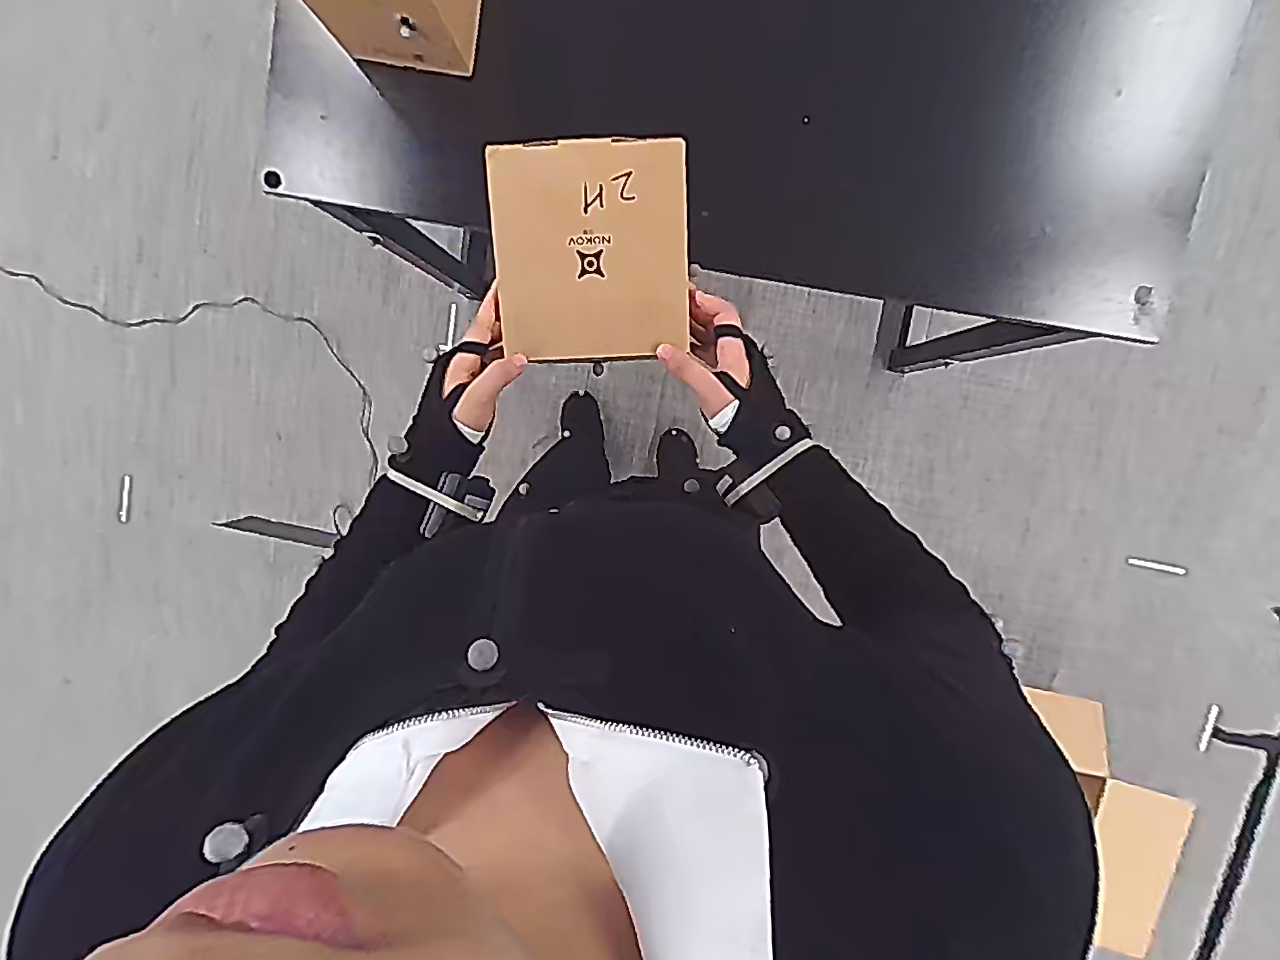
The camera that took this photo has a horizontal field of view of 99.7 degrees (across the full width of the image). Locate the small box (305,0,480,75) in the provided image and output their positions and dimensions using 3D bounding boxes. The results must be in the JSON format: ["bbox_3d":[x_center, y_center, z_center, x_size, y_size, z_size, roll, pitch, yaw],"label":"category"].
[{"bbox_3d":[-0.288,-0.610,0.616,0.168,0.176,0.179,10,96,0],"label":"small box"}]

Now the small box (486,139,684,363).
[{"bbox_3d":[-0.043,-0.208,0.539,0.168,0.176,0.179,-2,100,0],"label":"small box"}]
